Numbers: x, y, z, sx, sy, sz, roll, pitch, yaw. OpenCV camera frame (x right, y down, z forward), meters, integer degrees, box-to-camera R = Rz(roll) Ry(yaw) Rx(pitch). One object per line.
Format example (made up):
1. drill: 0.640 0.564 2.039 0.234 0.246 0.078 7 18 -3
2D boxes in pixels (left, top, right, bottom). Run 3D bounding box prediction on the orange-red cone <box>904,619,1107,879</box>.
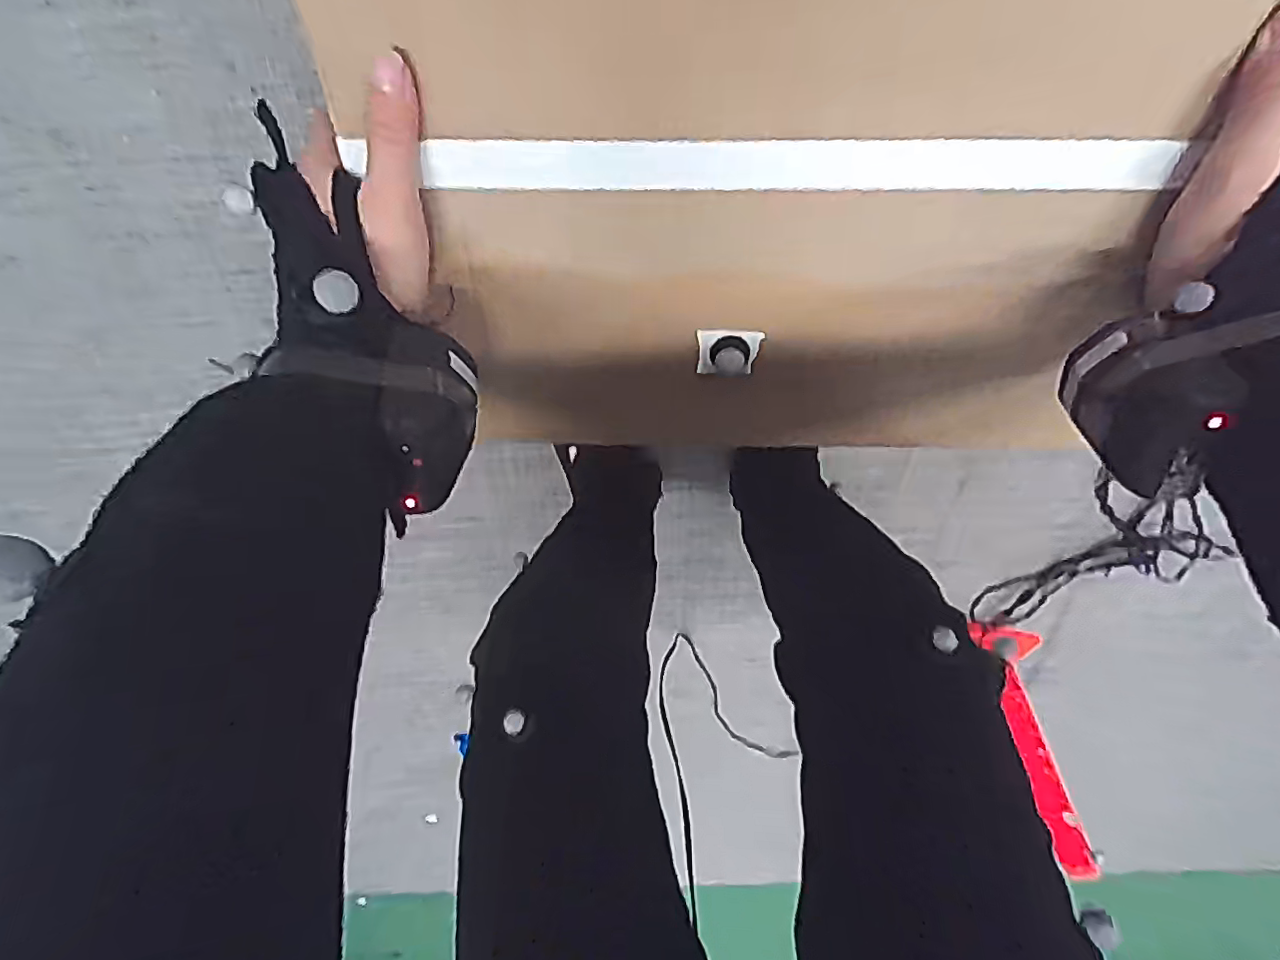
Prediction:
1. orange-red cone: 0.633 0.440 0.892 0.199 0.360 0.198 12 128 -12
